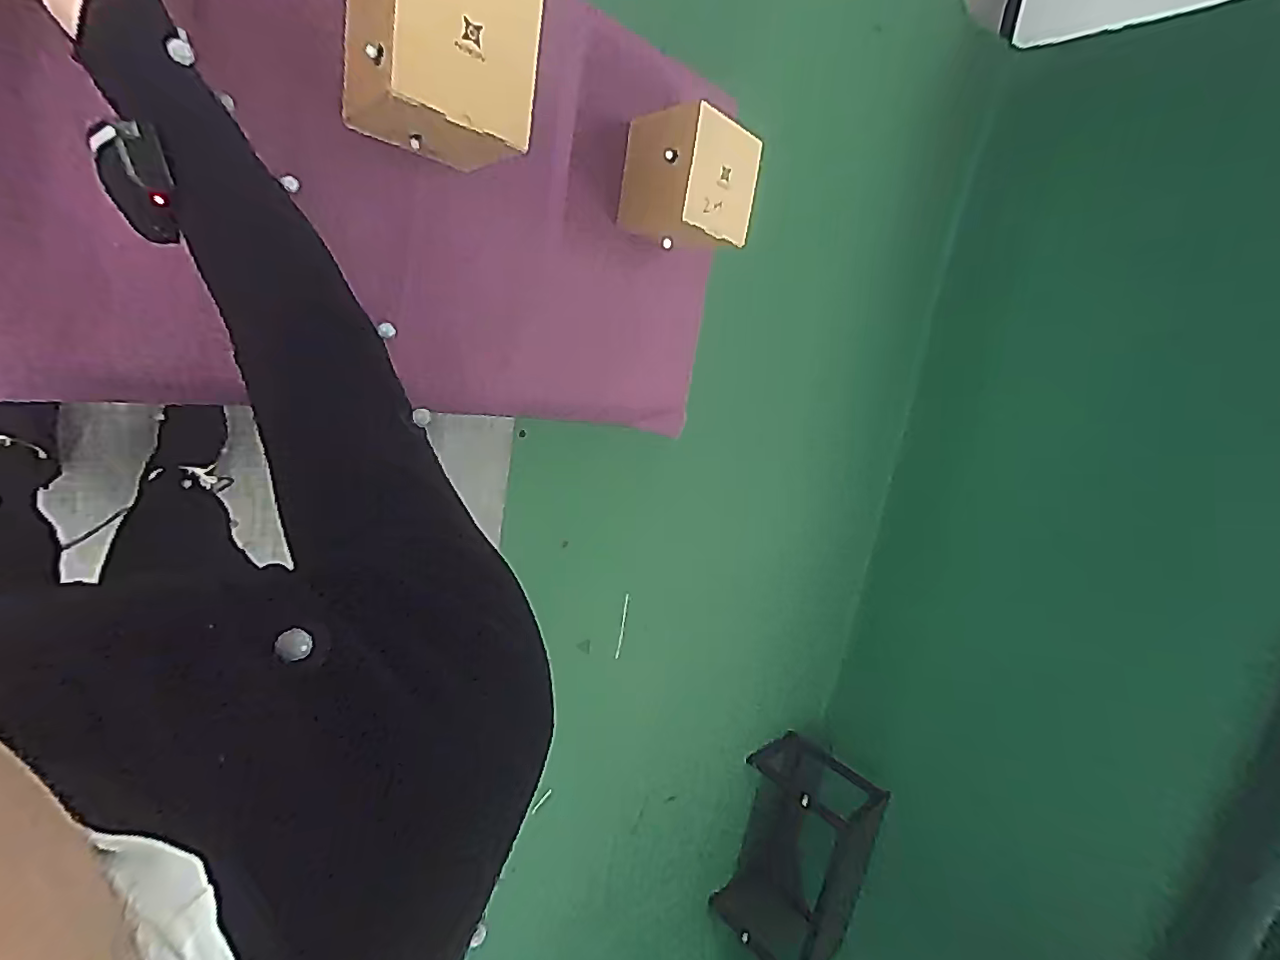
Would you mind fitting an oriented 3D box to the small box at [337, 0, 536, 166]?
[{"bbox_3d":[-0.248,-0.504,0.647,0.168,0.176,0.179,-4,109,-45],"label":"small box"}]

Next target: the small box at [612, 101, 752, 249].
[{"bbox_3d":[0.069,-0.520,0.954,0.168,0.176,0.179,-2,107,-44],"label":"small box"}]
